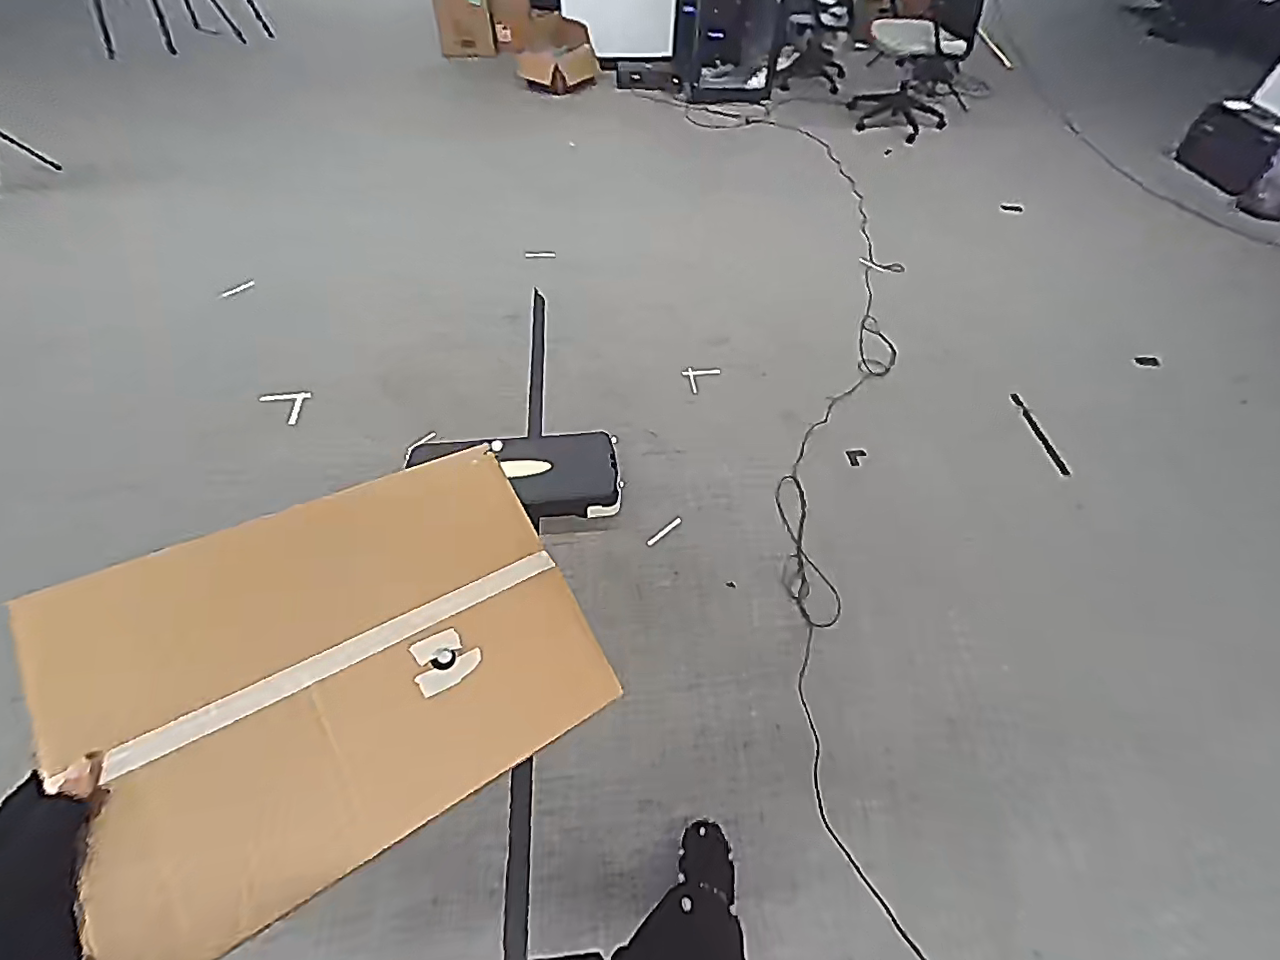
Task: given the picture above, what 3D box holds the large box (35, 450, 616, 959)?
[{"bbox_3d":[-0.302,0.226,0.614,0.408,0.320,0.320,-22,72,-29],"label":"large box"}]
